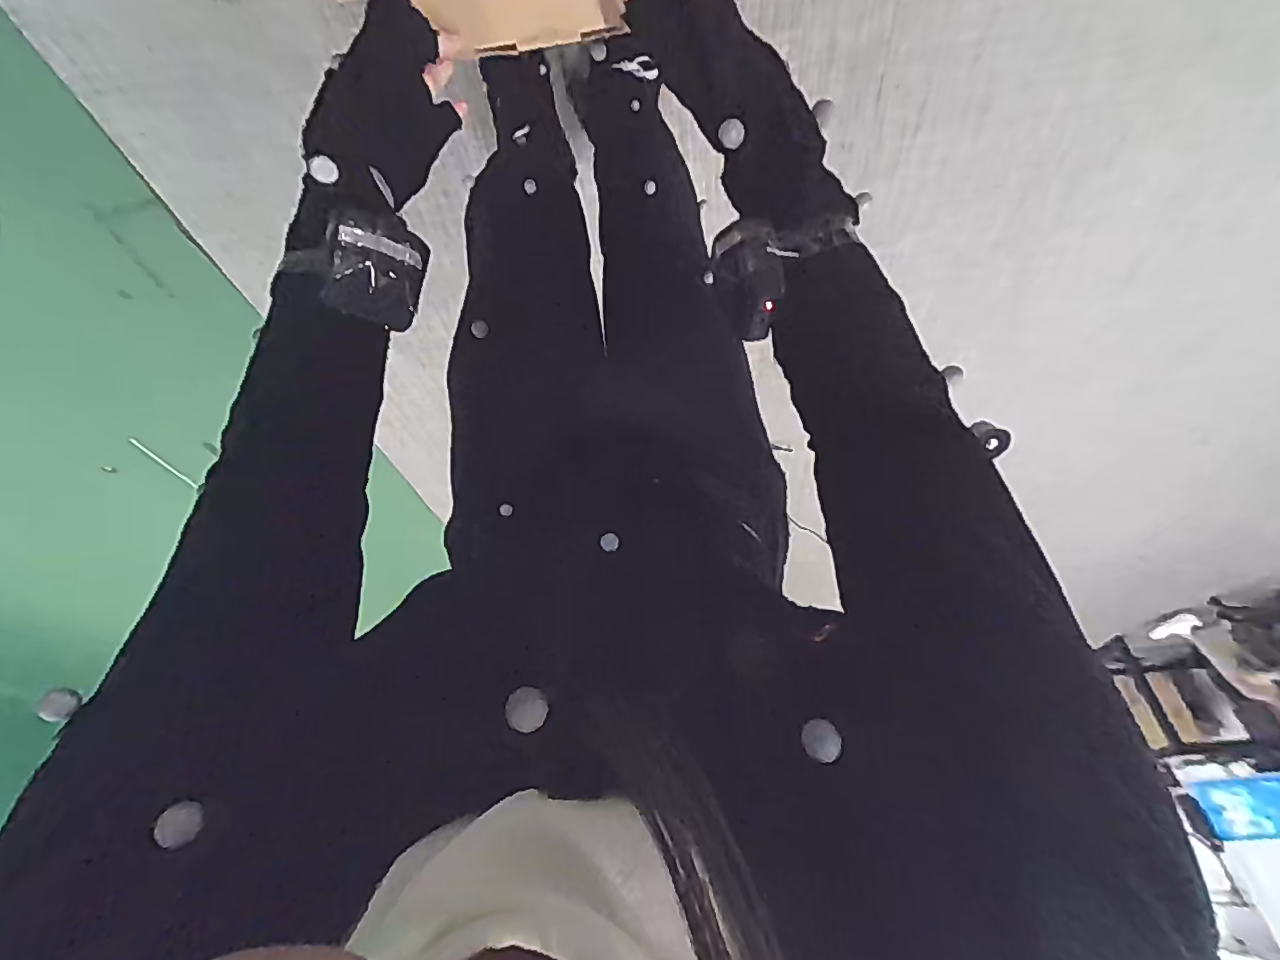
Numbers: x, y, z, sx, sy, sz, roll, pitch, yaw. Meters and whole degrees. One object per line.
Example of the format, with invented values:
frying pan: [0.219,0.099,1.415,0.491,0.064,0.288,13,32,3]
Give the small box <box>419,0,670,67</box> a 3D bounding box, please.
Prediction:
small box: [-0.078,-0.416,0.371,0.168,0.176,0.179,-12,130,4]
